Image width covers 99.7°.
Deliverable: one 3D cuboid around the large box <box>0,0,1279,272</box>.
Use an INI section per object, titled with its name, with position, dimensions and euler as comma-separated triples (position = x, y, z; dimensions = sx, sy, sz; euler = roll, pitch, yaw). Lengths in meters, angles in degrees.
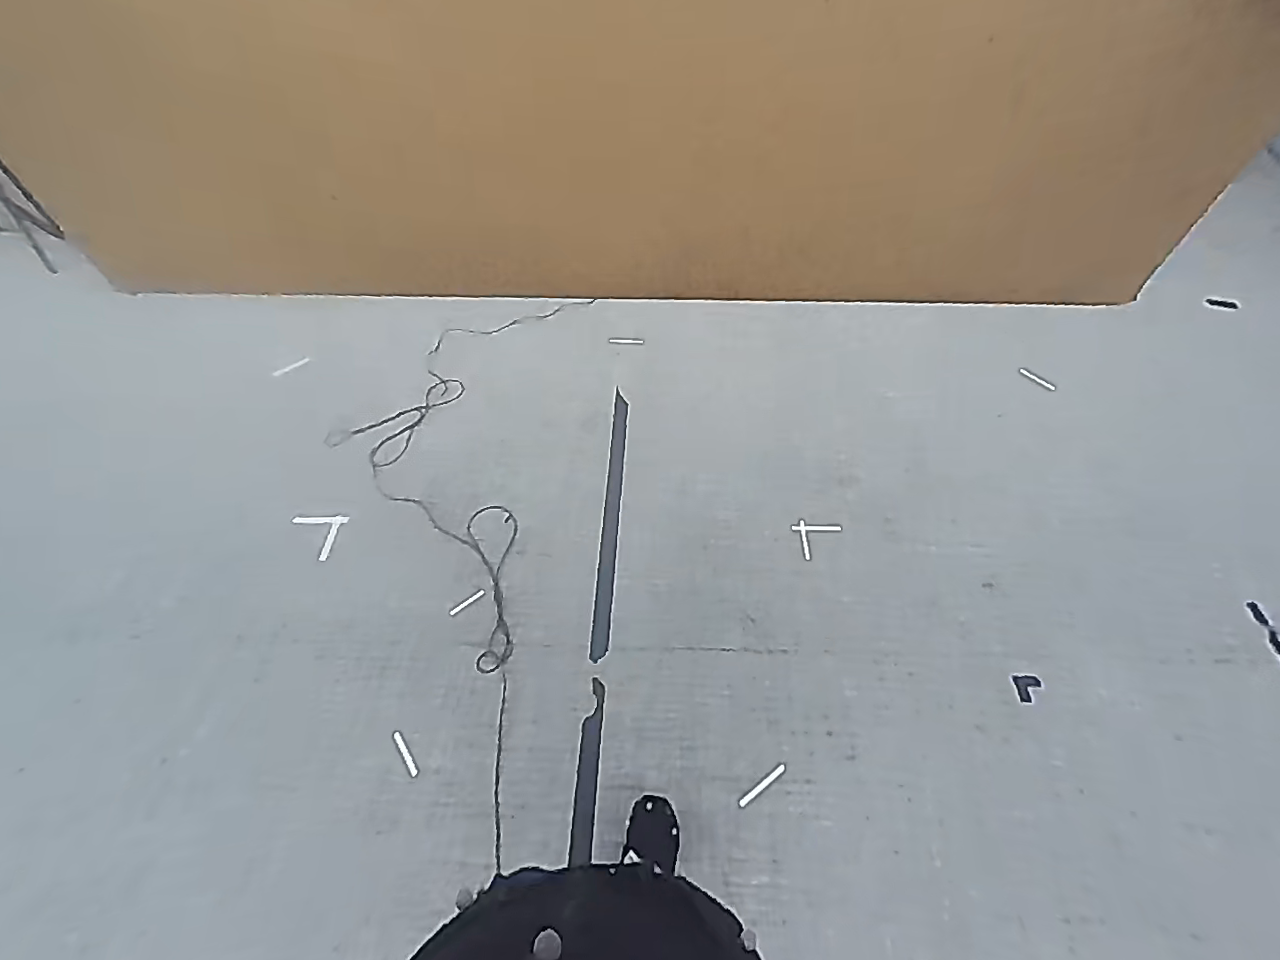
[large box]
position = -0.003, -0.296, 0.197
dimensions = 0.408, 0.320, 0.320
euler = 1, 54, 0
